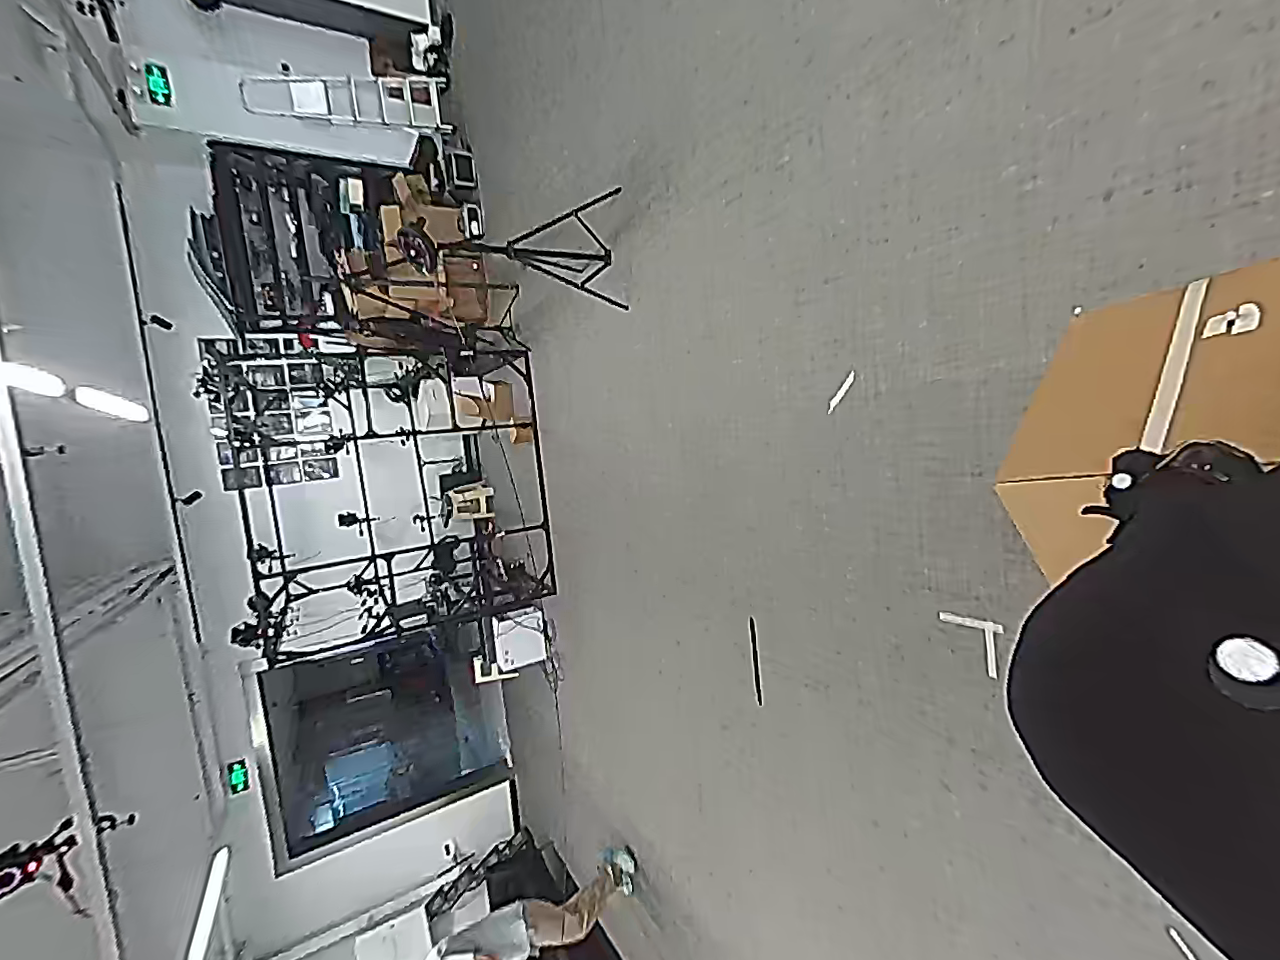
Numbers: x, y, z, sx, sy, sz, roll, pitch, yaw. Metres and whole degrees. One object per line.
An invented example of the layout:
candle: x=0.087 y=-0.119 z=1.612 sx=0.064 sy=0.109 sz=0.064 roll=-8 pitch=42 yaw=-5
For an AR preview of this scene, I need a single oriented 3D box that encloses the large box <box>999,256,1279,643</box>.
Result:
large box: x=0.772 y=-0.040 z=0.732 sx=0.320 sy=0.408 sz=0.320 roll=50 pitch=154 yaw=-18
